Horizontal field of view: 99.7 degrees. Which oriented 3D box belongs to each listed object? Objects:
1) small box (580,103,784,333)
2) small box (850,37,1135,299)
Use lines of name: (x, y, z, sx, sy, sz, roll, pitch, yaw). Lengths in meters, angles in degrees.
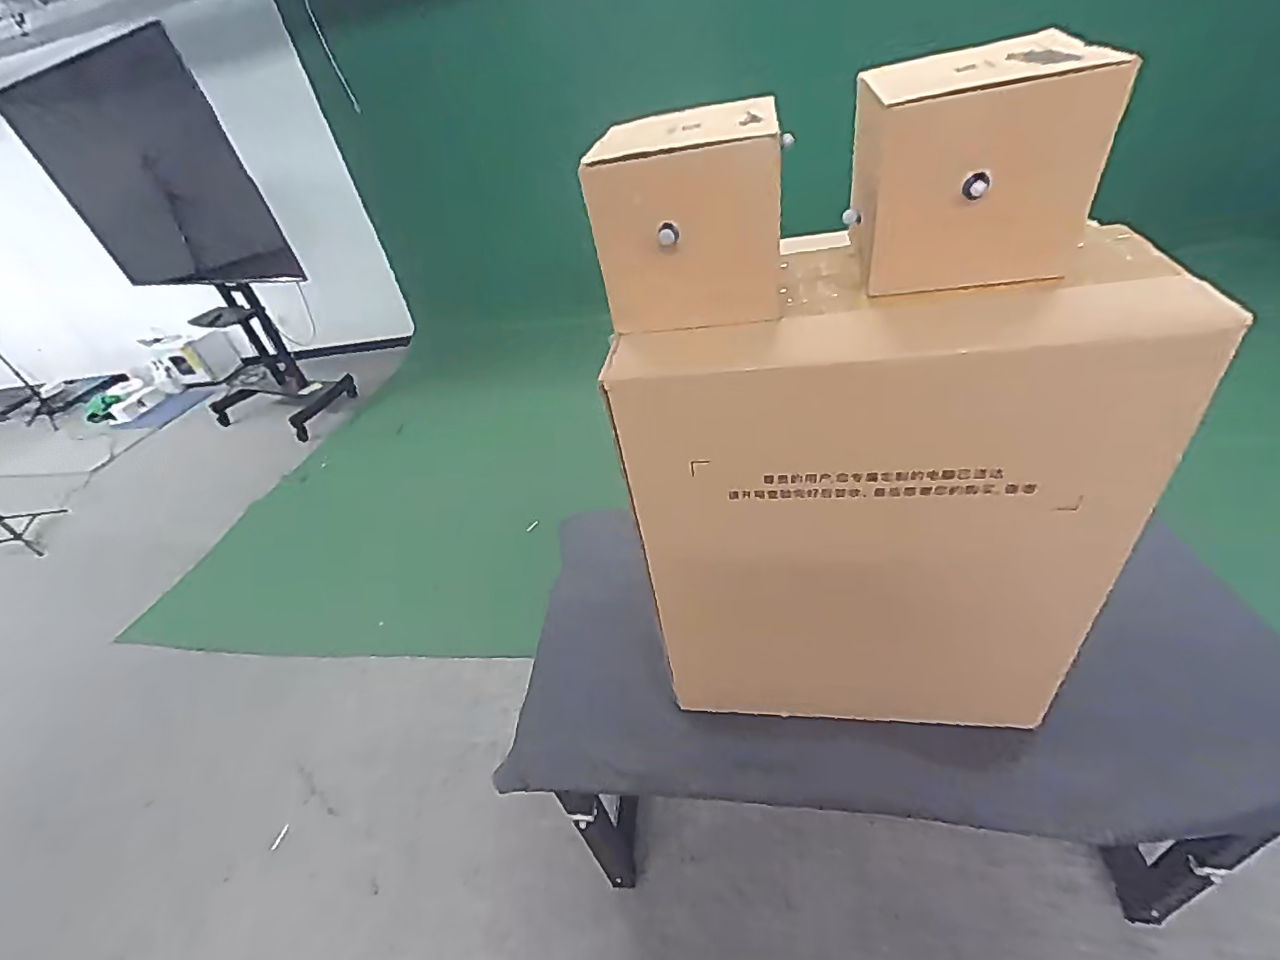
small box: (0.058, -0.269, 0.571, 0.179, 0.176, 0.168, -2, 43, 14)
small box: (0.310, -0.296, 0.526, 0.179, 0.176, 0.168, -2, 43, 15)
